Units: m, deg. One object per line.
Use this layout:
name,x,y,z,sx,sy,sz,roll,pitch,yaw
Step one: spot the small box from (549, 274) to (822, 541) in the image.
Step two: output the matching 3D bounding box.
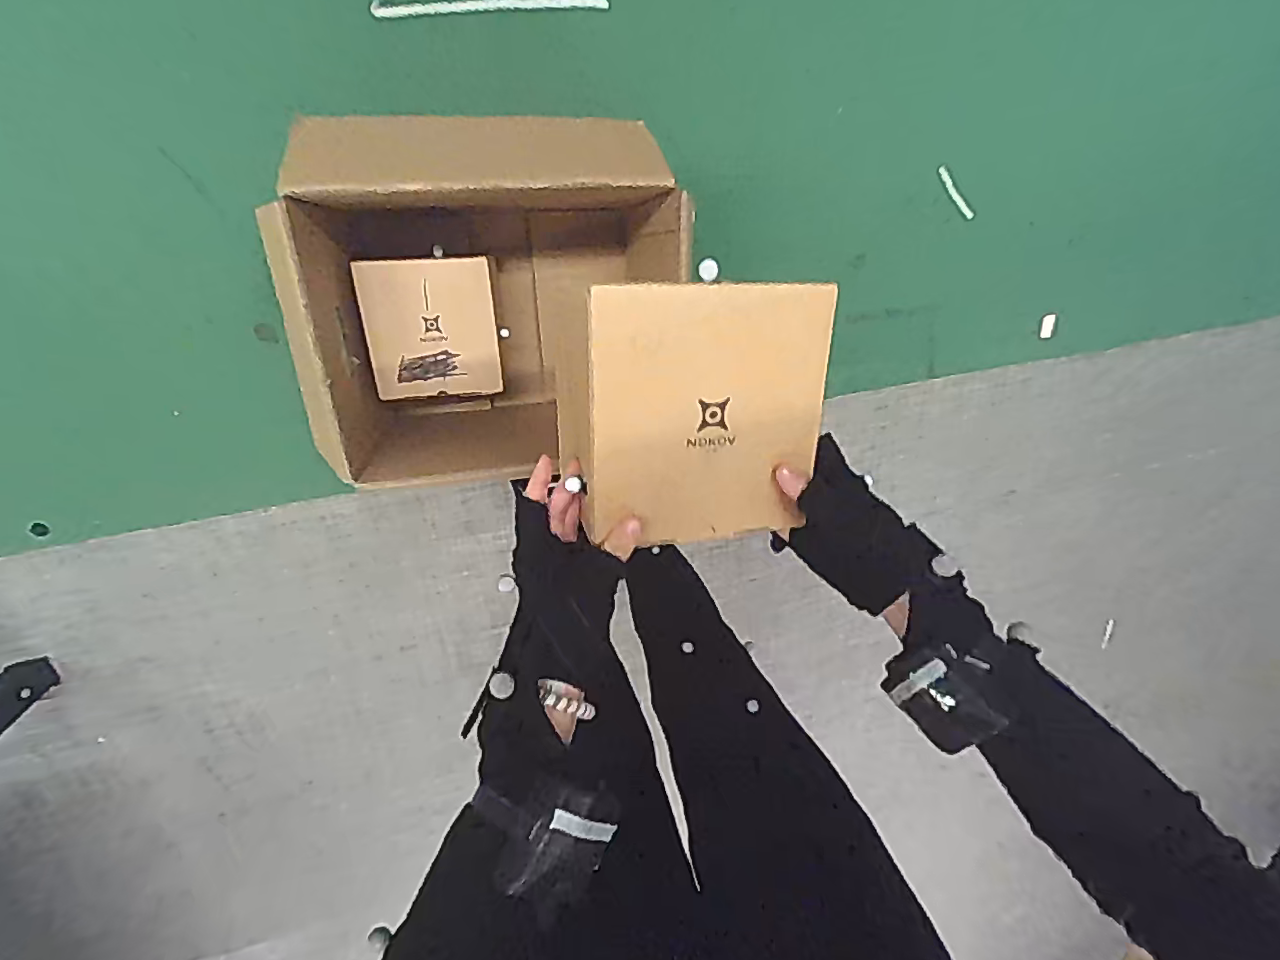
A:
small box,0.022,-0.072,0.439,0.168,0.176,0.179,-6,112,-15
